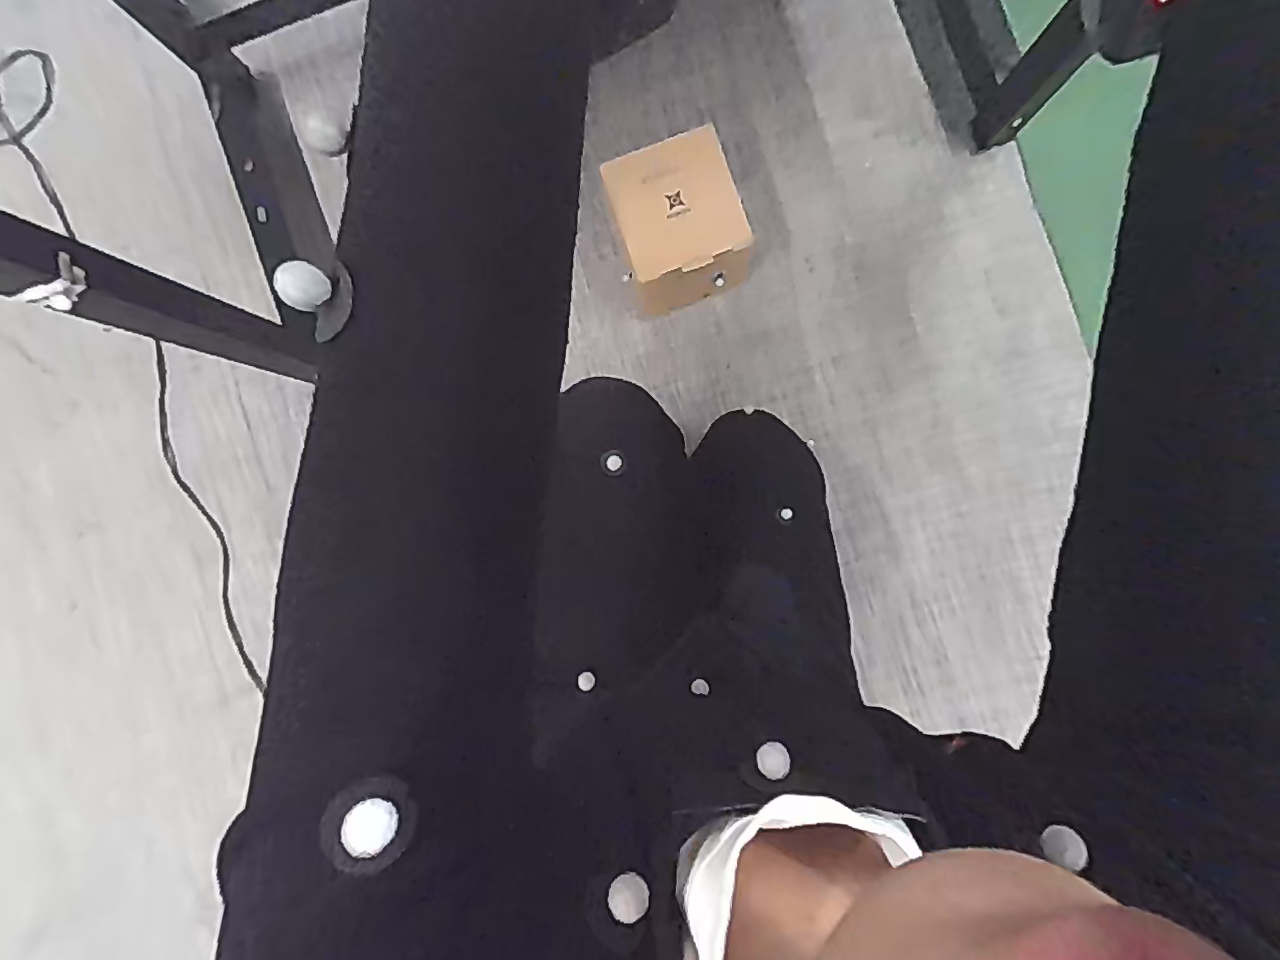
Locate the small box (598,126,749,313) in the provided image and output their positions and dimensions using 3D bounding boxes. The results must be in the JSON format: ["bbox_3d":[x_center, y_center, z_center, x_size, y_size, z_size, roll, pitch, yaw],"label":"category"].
[{"bbox_3d":[0.051,-0.370,0.811,0.168,0.176,0.179,-19,86,2],"label":"small box"}]
